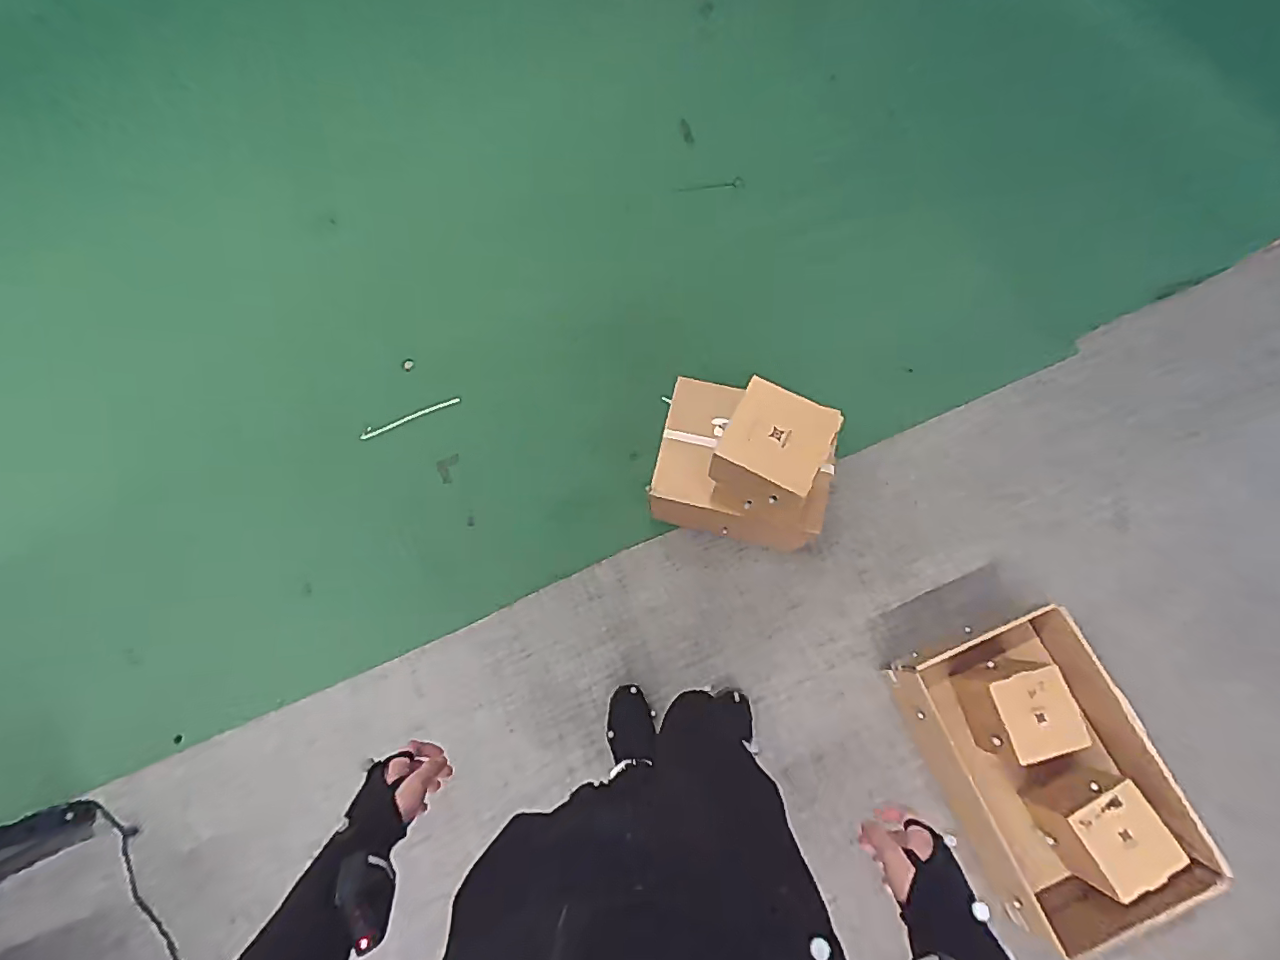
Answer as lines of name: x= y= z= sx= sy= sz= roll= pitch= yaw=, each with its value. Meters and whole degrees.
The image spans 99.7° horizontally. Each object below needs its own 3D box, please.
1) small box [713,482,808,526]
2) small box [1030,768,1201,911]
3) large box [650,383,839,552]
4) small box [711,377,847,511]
small box: x=0.269 y=-0.011 z=1.150 sx=0.179 sy=0.176 sz=0.168 roll=23 pitch=79 yaw=9
small box: x=1.003 y=0.756 z=1.160 sx=0.168 sy=0.176 sz=0.179 roll=-28 pitch=74 yaw=-4
large box: x=0.259 y=-0.017 z=1.405 sx=0.408 sy=0.320 sz=0.320 roll=12 pitch=74 yaw=7
small box: x=0.244 y=-0.055 z=0.994 sx=0.179 sy=0.176 sz=0.168 roll=28 pitch=79 yaw=10
